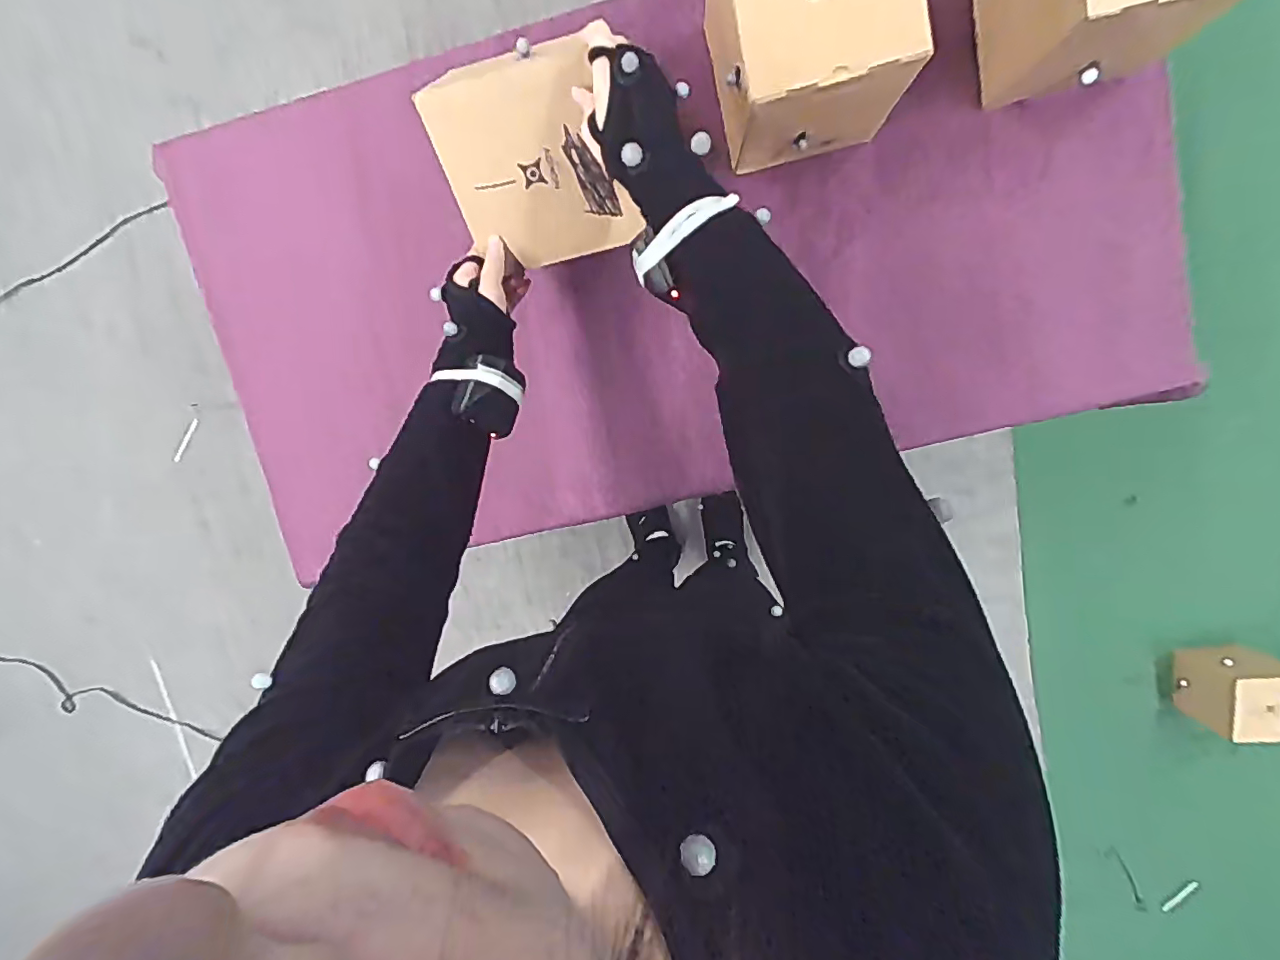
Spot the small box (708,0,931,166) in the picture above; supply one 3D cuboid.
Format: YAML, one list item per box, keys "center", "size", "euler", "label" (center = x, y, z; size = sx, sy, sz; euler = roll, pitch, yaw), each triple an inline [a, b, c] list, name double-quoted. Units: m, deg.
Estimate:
- center: [0.168, -0.464, 0.557]
  size: [0.168, 0.176, 0.179]
  euler: [-12, 100, 6]
  label: "small box"

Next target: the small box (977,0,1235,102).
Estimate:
- center: [0.451, -0.514, 0.522]
  size: [0.168, 0.176, 0.179]
  euler: [-10, 101, 7]
  label: "small box"
